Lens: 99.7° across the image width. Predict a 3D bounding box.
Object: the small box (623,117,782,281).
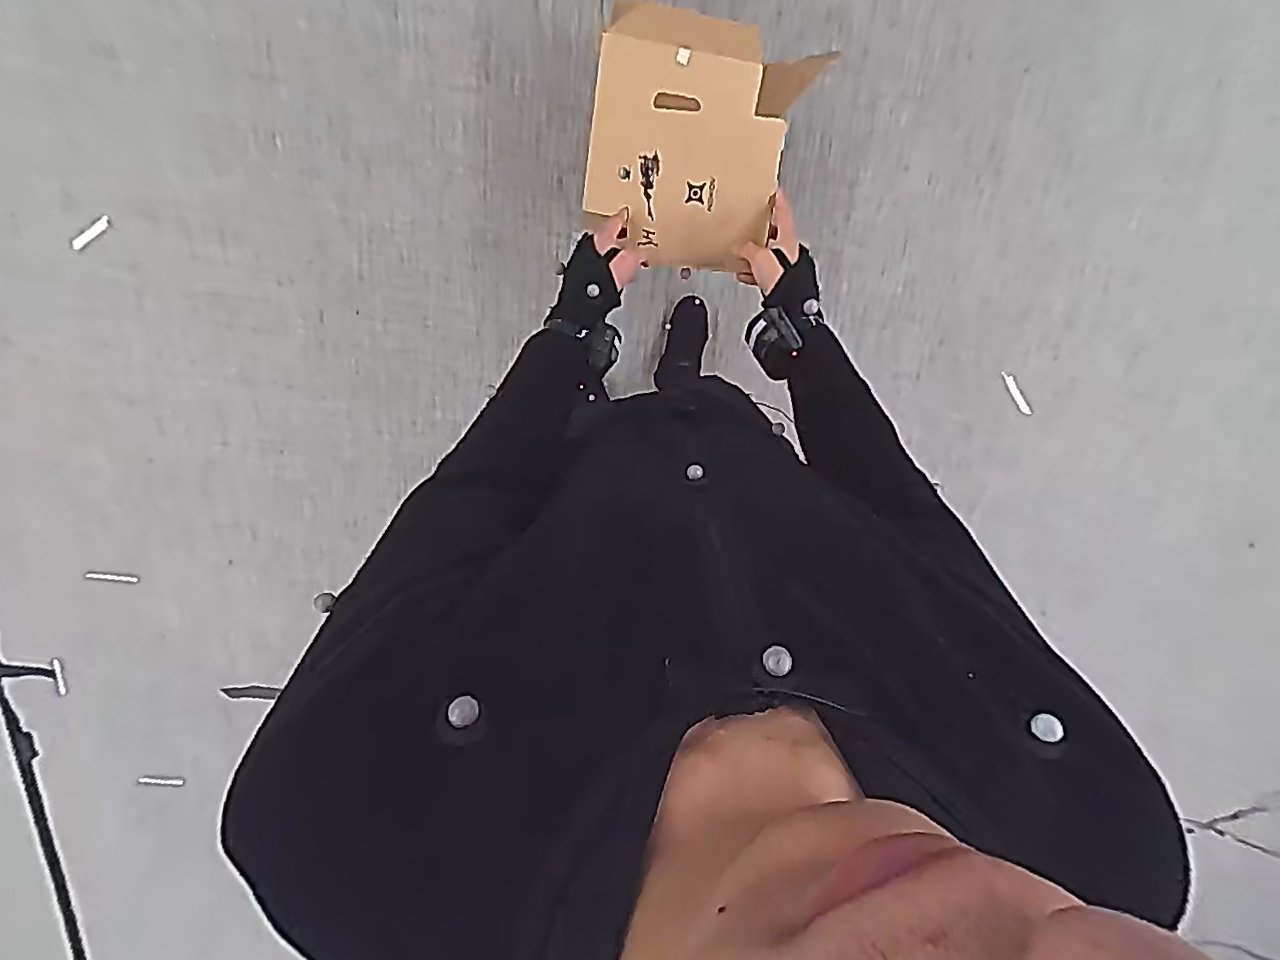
[{"bbox_3d":[0.070,-0.367,0.724,0.179,0.176,0.168,4,114,-2],"label":"small box"}]
